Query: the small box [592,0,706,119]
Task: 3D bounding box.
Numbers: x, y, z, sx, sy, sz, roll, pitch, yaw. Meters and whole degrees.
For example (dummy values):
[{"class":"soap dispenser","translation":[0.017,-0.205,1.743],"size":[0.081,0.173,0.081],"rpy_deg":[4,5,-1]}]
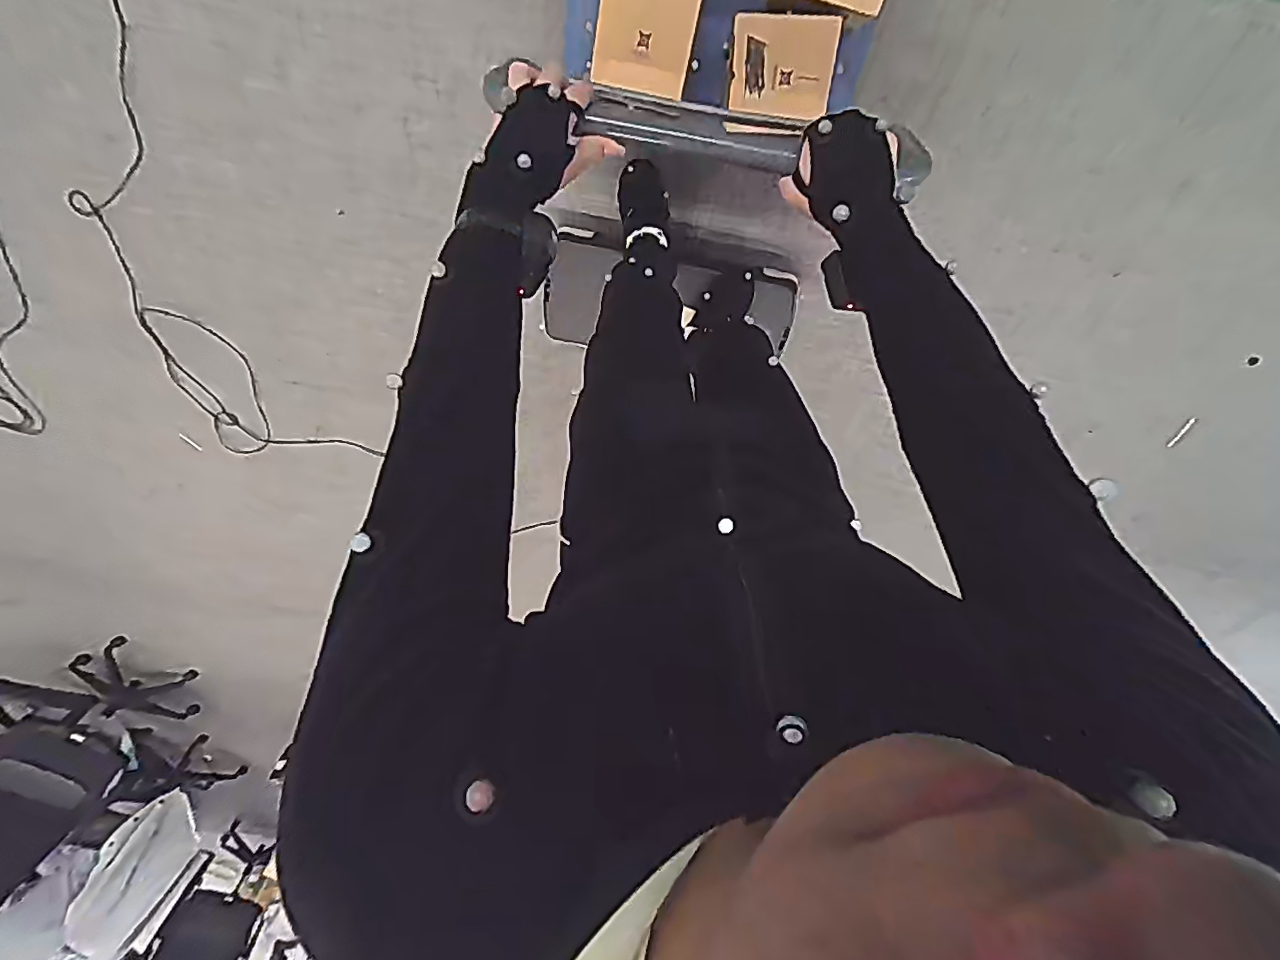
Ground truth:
[{"class":"small box","translation":[0.016,-0.782,0.987],"size":[0.168,0.176,0.179],"rpy_deg":[13,124,-3]}]
